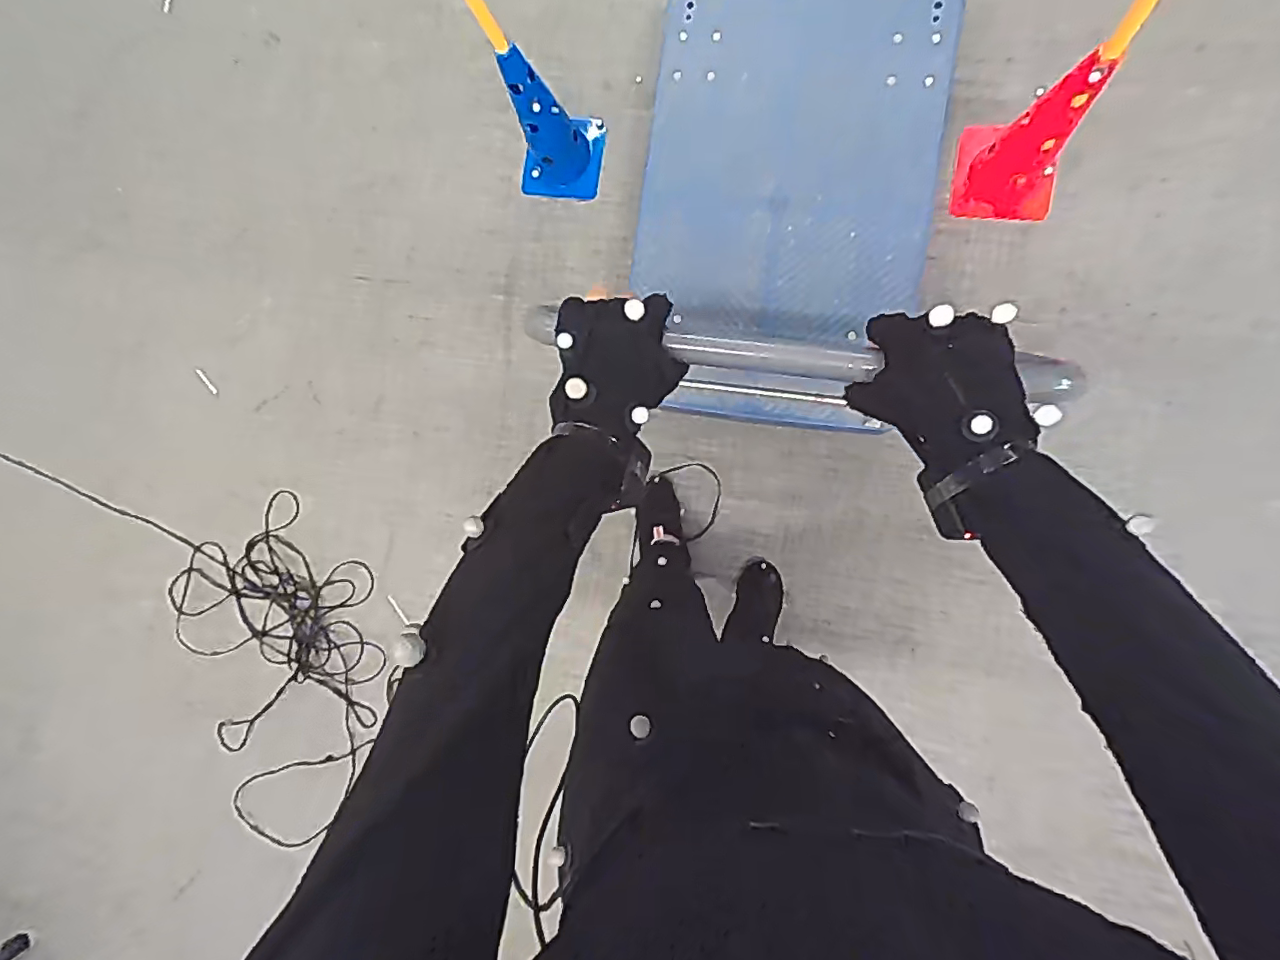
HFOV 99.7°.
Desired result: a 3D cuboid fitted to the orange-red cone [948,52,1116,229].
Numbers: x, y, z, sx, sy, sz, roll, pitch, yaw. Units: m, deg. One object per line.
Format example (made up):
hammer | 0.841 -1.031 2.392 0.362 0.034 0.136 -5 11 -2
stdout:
orange-red cone | 0.762 -0.655 1.023 0.199 0.360 0.198 9 92 12
